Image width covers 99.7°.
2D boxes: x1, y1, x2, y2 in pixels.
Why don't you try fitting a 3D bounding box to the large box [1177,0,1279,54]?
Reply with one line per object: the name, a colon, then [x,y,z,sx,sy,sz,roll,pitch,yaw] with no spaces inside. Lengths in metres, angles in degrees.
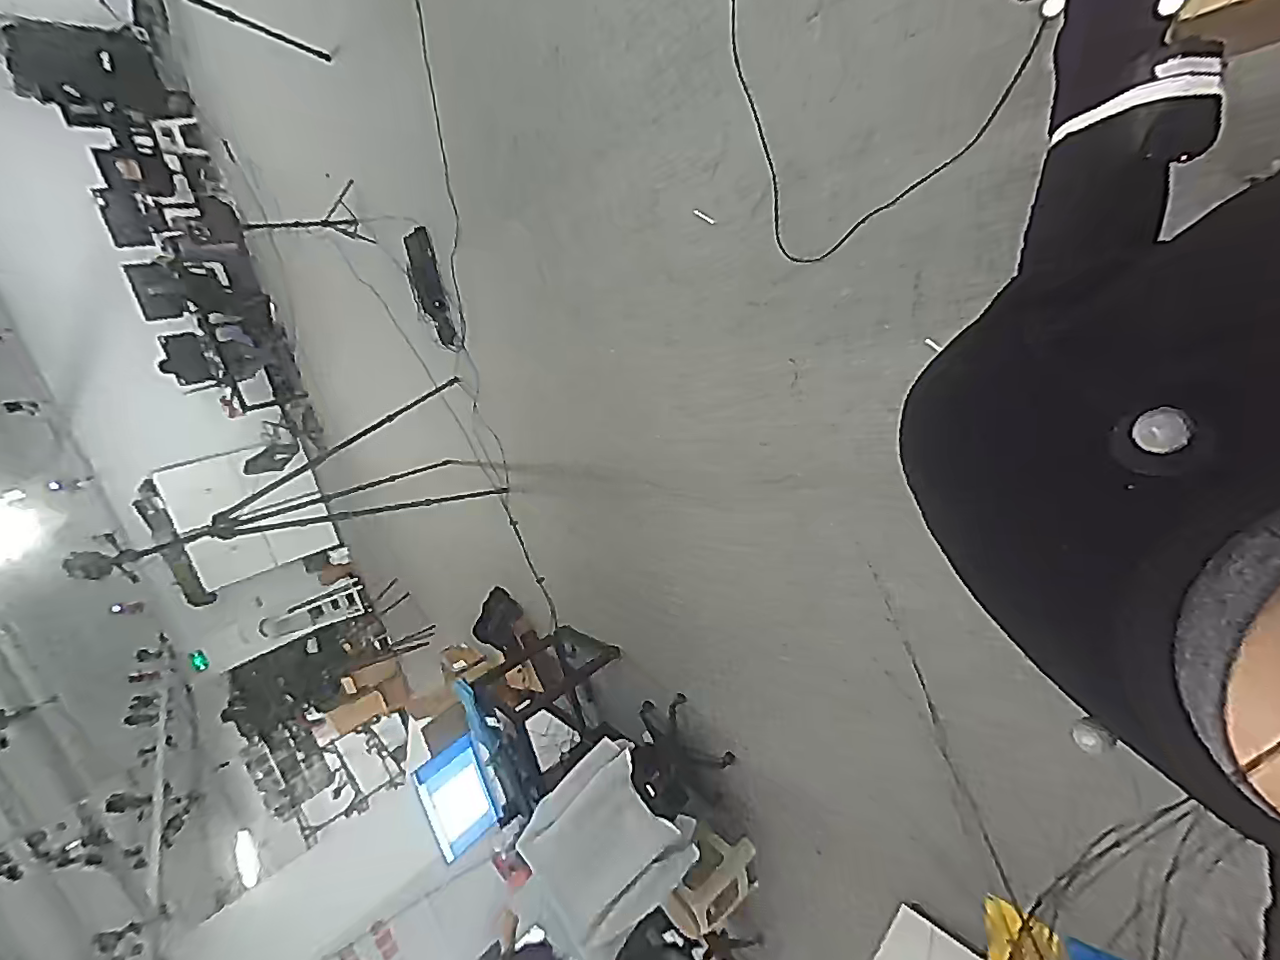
large box: [0.577,-0.498,0.276,0.408,0.320,0.320,7,117,43]
